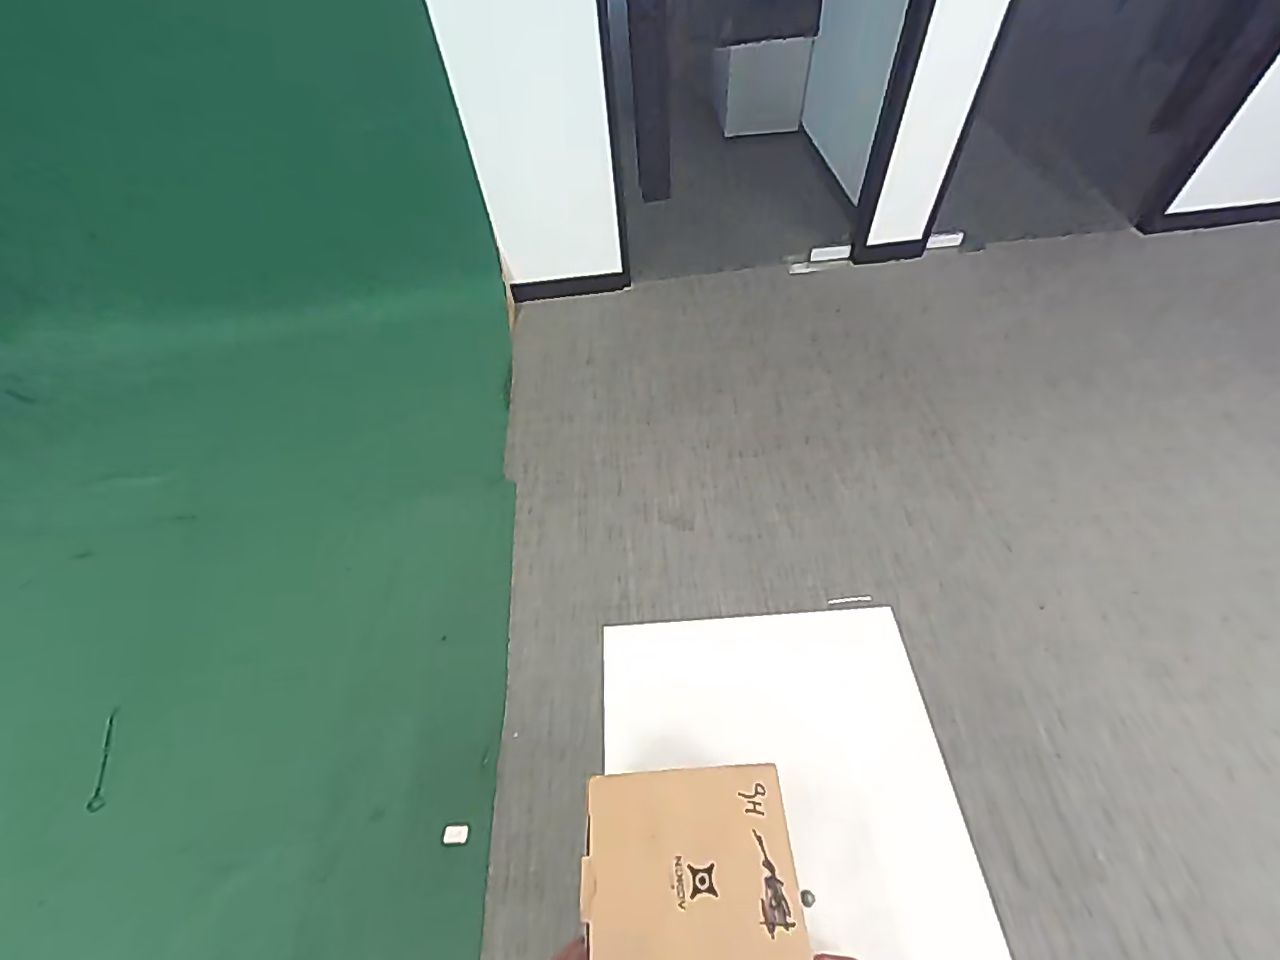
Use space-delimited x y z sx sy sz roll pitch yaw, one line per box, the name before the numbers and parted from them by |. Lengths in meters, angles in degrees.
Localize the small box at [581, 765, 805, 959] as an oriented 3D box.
small box | 0.042 0.378 0.511 0.179 0.176 0.168 -4 54 0
